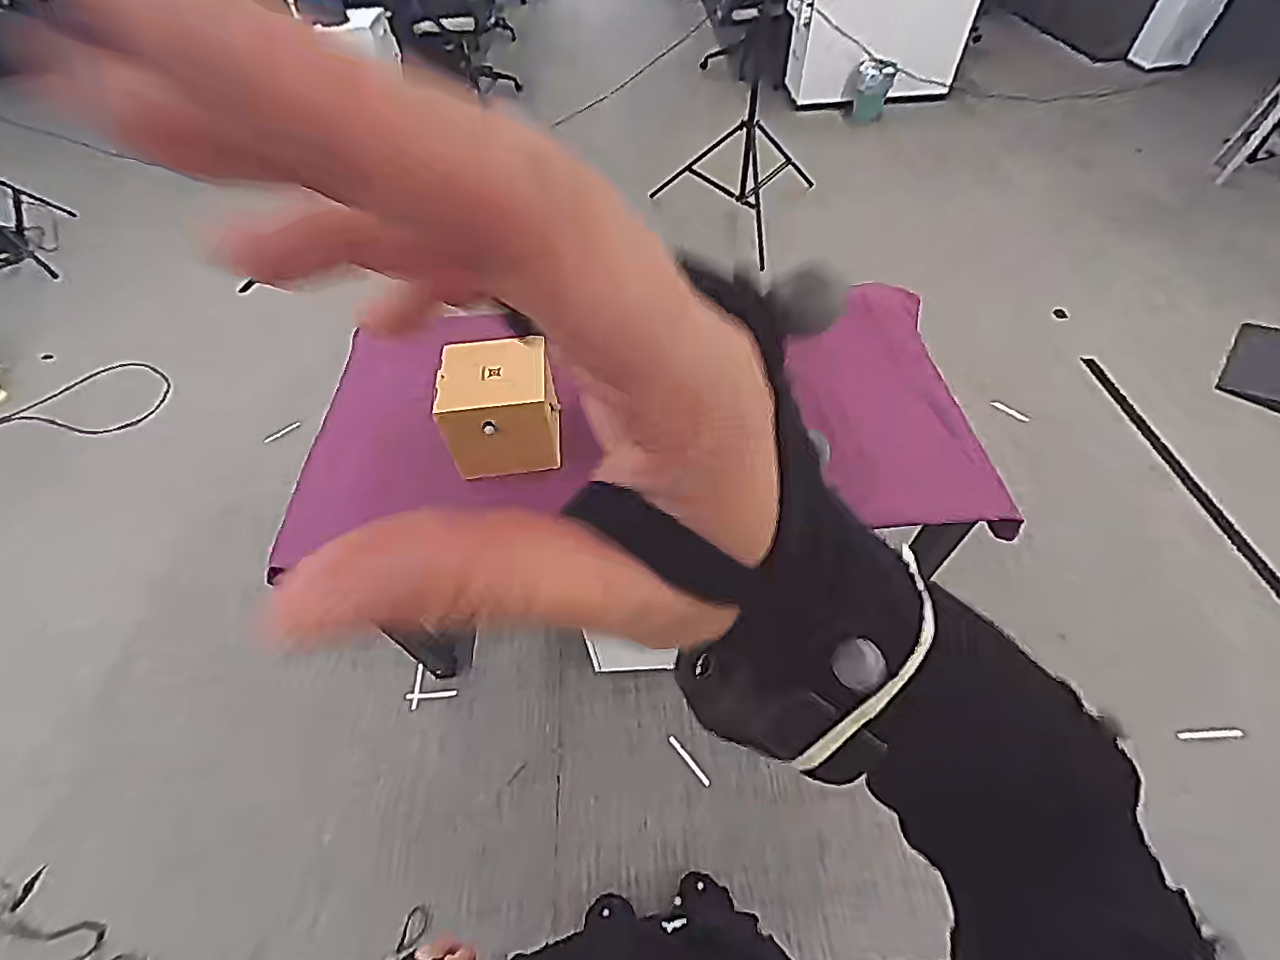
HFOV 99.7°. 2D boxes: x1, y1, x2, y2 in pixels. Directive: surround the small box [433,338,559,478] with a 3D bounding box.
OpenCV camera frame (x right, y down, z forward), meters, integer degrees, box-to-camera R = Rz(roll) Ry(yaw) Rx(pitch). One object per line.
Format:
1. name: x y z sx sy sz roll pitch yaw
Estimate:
1. small box: -0.239 -0.122 0.946 0.179 0.176 0.168 -7 53 -2
